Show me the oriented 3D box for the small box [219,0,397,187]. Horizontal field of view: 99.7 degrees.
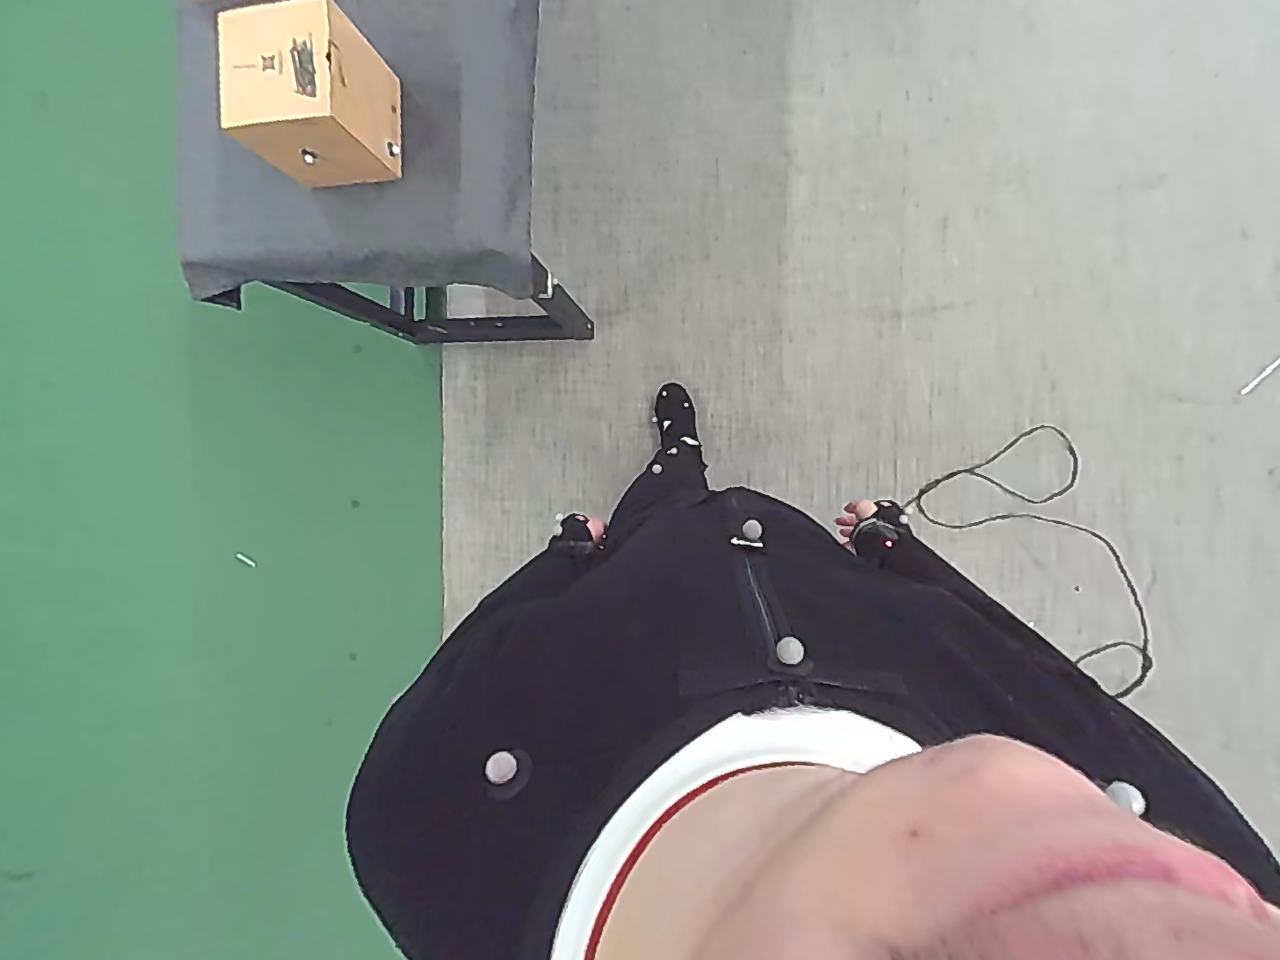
[{"bbox_3d":[-0.494,-0.577,0.830,0.179,0.176,0.168,0,91,8],"label":"small box"}]
